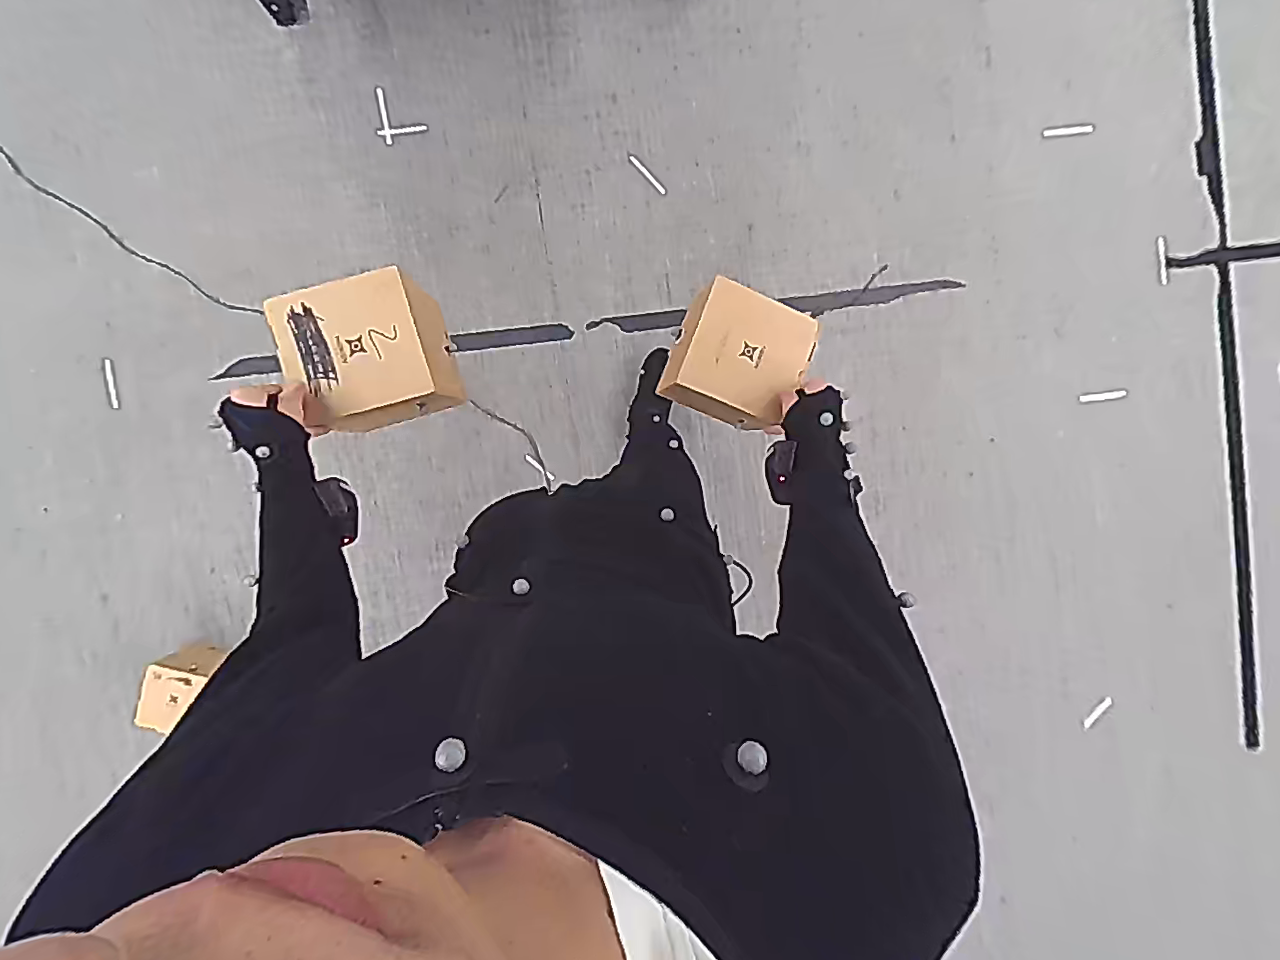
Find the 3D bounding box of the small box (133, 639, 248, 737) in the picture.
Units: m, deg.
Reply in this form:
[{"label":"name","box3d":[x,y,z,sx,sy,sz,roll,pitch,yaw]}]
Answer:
[{"label":"small box","box3d":[-1.238,0.572,1.503,0.168,0.176,0.179,17,94,-4]}]

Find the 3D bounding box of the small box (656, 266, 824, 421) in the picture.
[{"label":"small box","box3d":[0.144,-0.197,0.839,0.179,0.176,0.168,21,89,-11]}]
